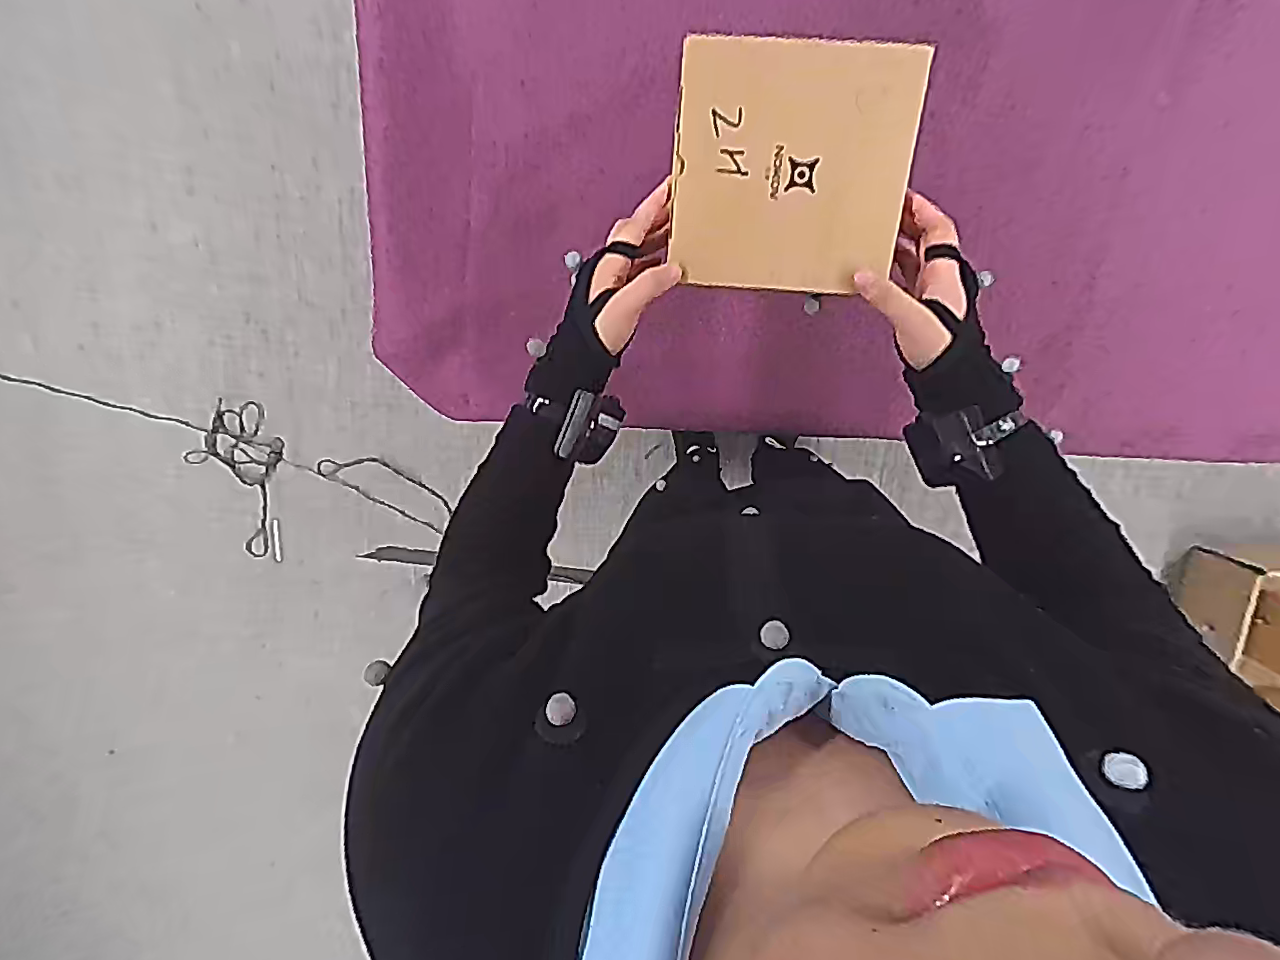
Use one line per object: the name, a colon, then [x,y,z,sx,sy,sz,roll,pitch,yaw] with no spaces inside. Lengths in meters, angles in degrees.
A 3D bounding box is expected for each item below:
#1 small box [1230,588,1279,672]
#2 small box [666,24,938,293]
small box: [1.602,0.375,1.286,0.179,0.176,0.168,10,107,4]
small box: [0.118,-0.257,0.473,0.179,0.176,0.168,5,109,3]
